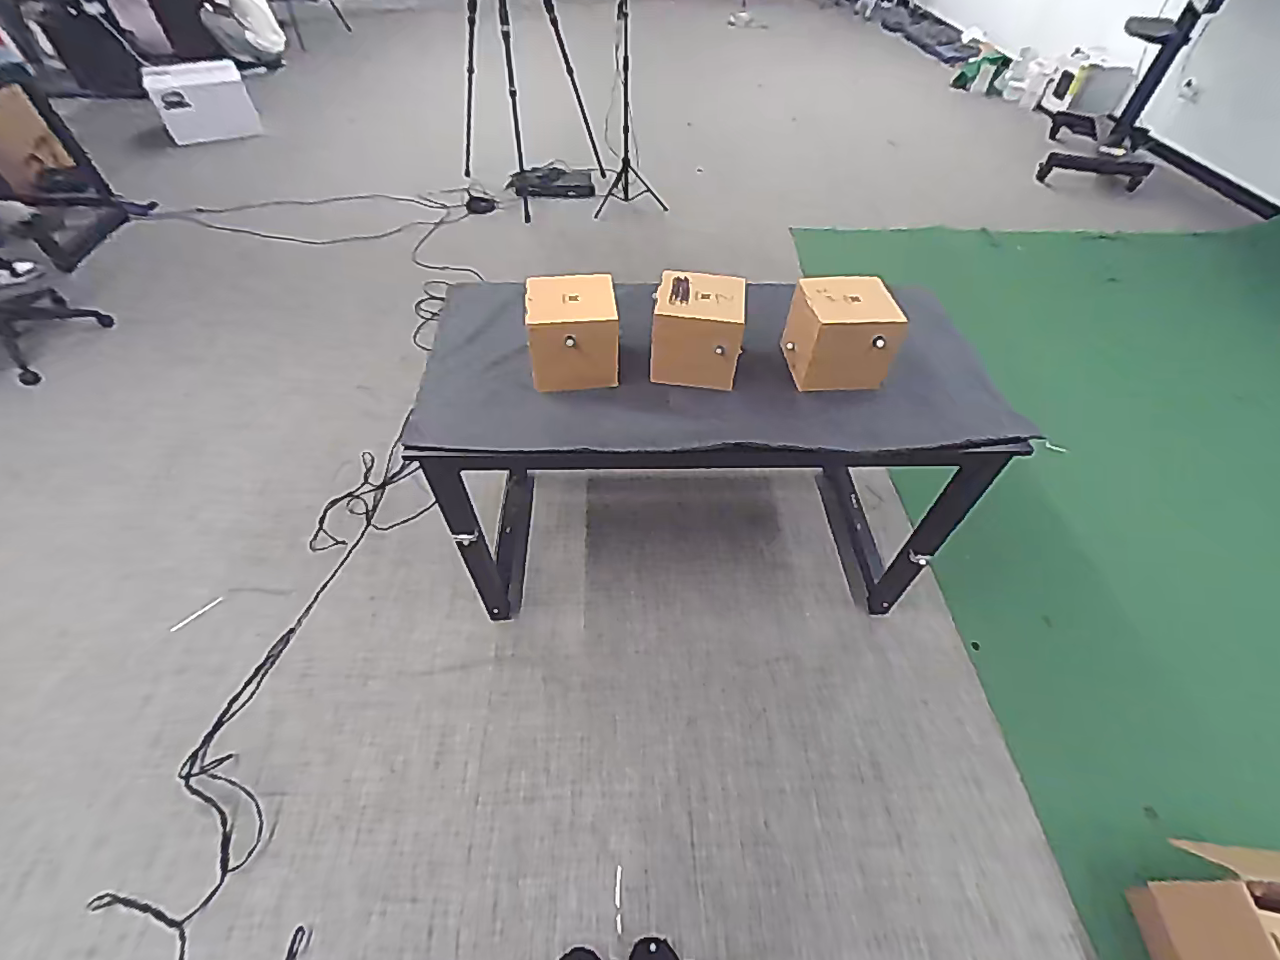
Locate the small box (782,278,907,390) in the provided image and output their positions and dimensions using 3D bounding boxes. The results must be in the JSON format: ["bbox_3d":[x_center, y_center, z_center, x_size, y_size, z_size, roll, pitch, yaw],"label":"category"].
[{"bbox_3d":[0.417,-0.303,1.135,0.179,0.176,0.168,-3,50,-3],"label":"small box"}]

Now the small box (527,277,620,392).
[{"bbox_3d":[-0.136,-0.300,1.123,0.179,0.176,0.168,-5,50,-5],"label":"small box"}]
